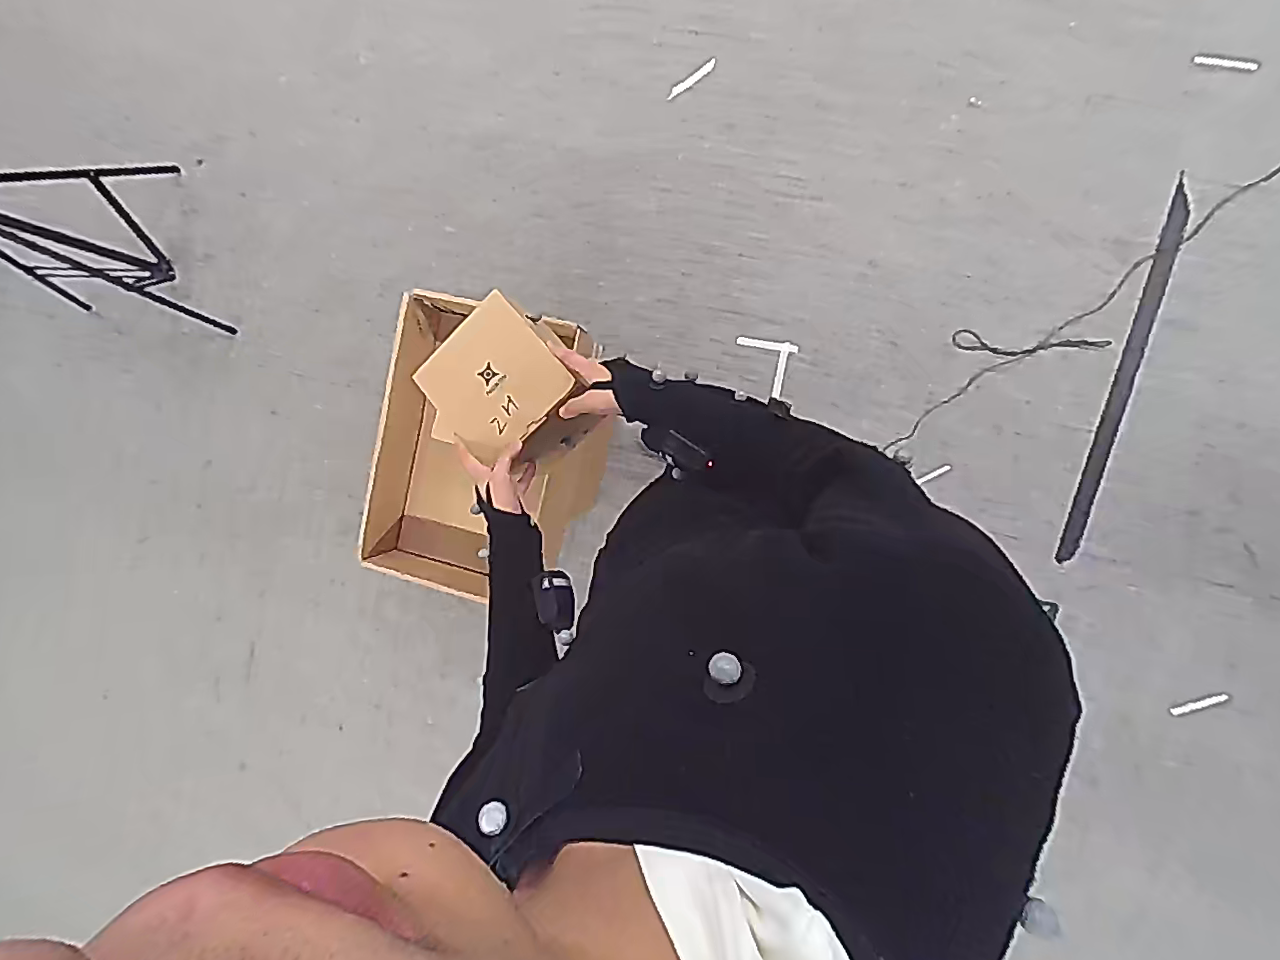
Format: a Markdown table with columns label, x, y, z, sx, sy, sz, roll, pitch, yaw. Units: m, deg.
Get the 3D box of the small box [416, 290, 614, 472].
| label | x | y | z | sx | sy | sz | roll | pitch | yaw |
| --- | --- | --- | --- | --- | --- | --- | --- | --- | --- |
| small box | -0.165 | -0.124 | 0.762 | 0.168 | 0.176 | 0.179 | -42 | 80 | 9 |
